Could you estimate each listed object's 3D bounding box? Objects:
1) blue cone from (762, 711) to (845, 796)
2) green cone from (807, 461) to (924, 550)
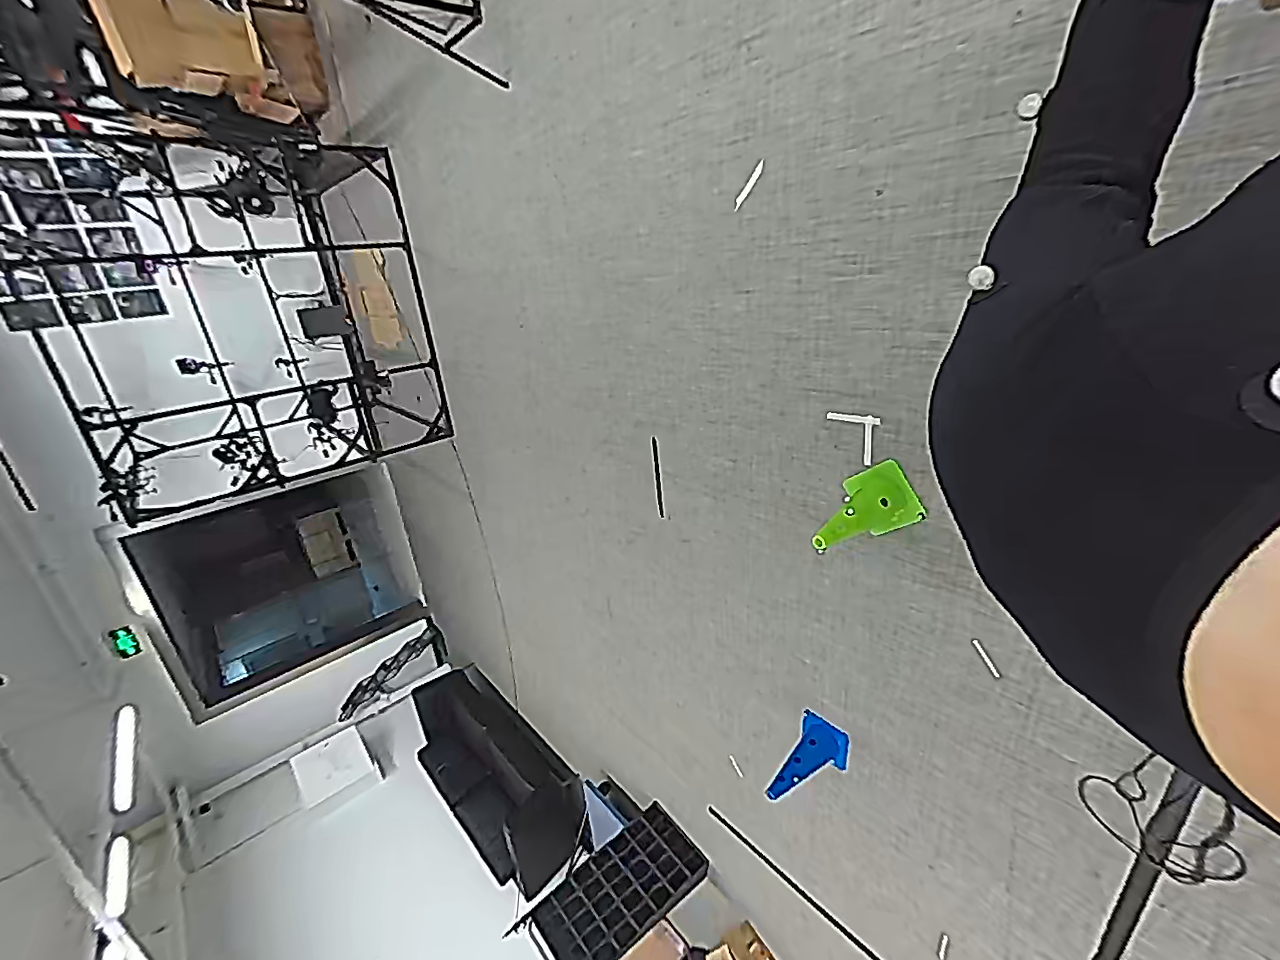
[{"bbox_3d":[0.616,1.102,2.099,0.192,0.380,0.193,25,126,45],"label":"blue cone"},{"bbox_3d":[0.607,0.110,1.554,0.200,0.368,0.202,63,146,9],"label":"green cone"}]
